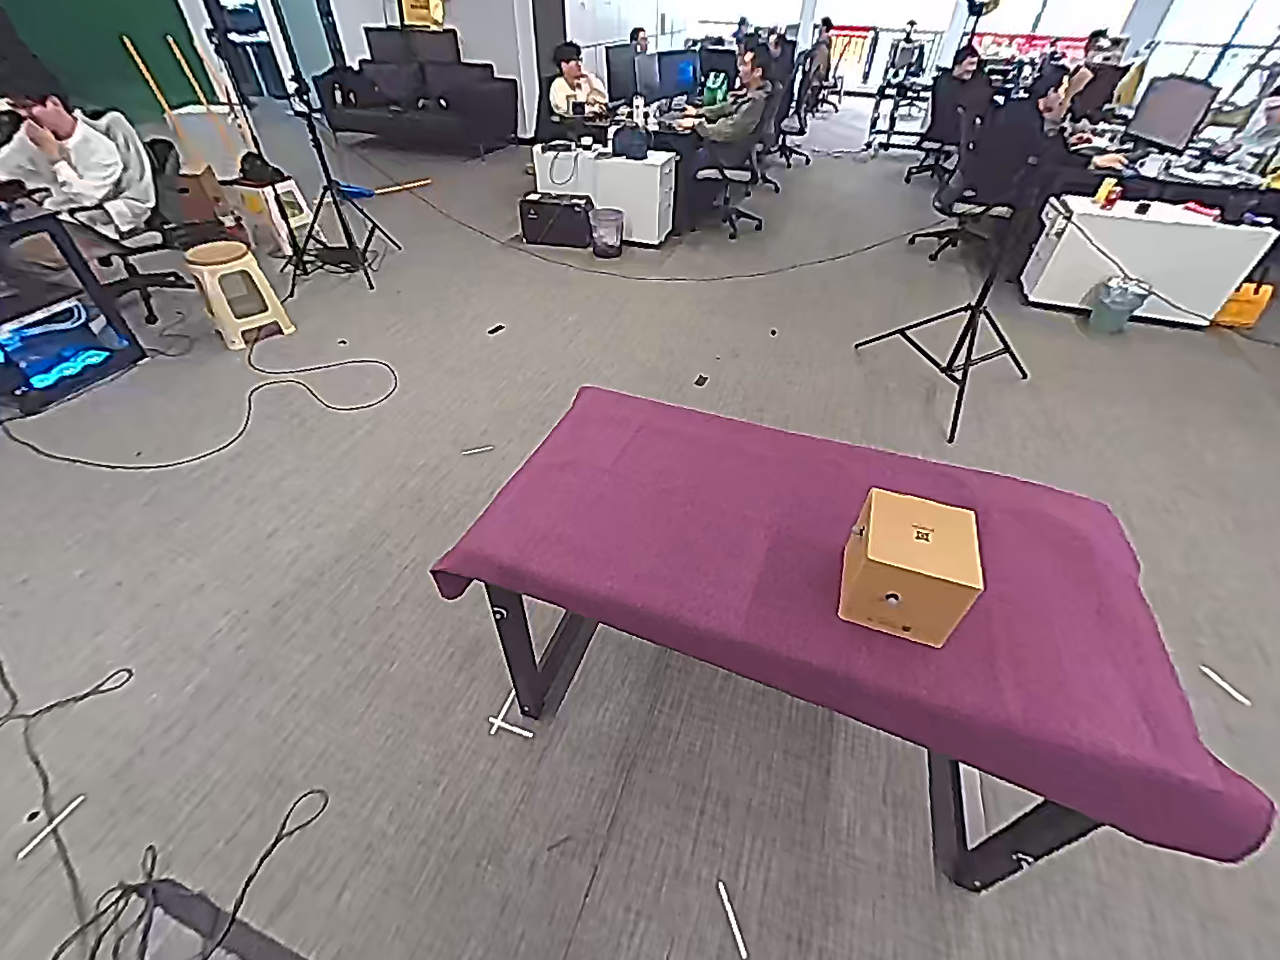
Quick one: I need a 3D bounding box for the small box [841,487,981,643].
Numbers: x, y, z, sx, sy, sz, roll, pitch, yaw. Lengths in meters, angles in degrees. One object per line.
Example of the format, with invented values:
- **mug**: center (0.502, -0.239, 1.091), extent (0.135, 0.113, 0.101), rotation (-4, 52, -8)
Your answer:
- **small box**: center (0.450, 0.145, 0.918), extent (0.168, 0.176, 0.179), rotation (14, 43, 14)
